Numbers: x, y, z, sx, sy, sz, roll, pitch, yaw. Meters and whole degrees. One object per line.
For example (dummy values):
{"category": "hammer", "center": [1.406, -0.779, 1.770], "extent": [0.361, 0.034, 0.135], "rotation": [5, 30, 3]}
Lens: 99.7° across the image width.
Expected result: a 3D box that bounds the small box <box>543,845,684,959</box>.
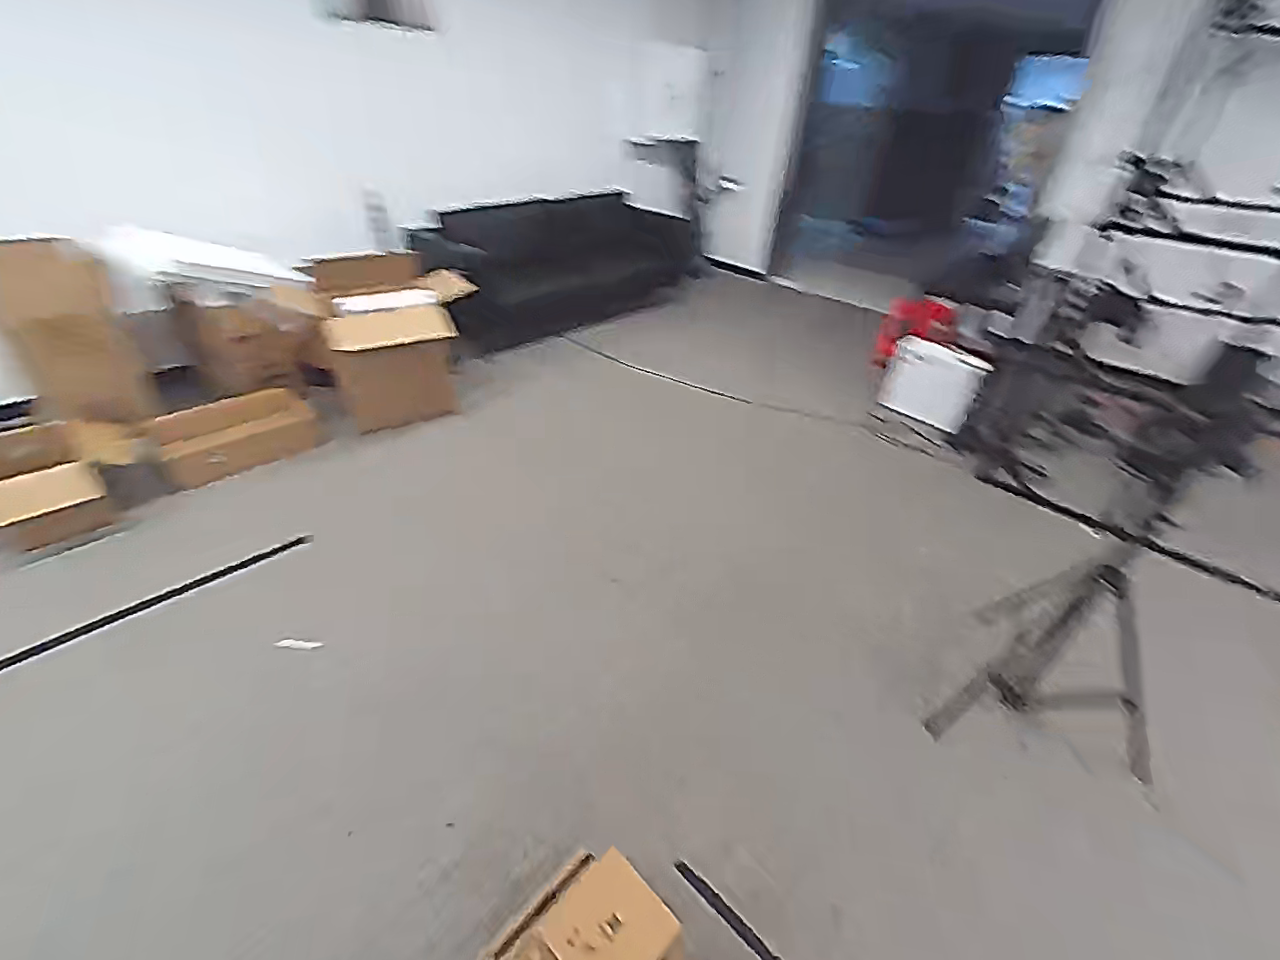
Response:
{"category": "small box", "center": [-0.049, 0.790, 0.927], "extent": [0.179, 0.176, 0.168], "rotation": [-28, 46, -37]}
